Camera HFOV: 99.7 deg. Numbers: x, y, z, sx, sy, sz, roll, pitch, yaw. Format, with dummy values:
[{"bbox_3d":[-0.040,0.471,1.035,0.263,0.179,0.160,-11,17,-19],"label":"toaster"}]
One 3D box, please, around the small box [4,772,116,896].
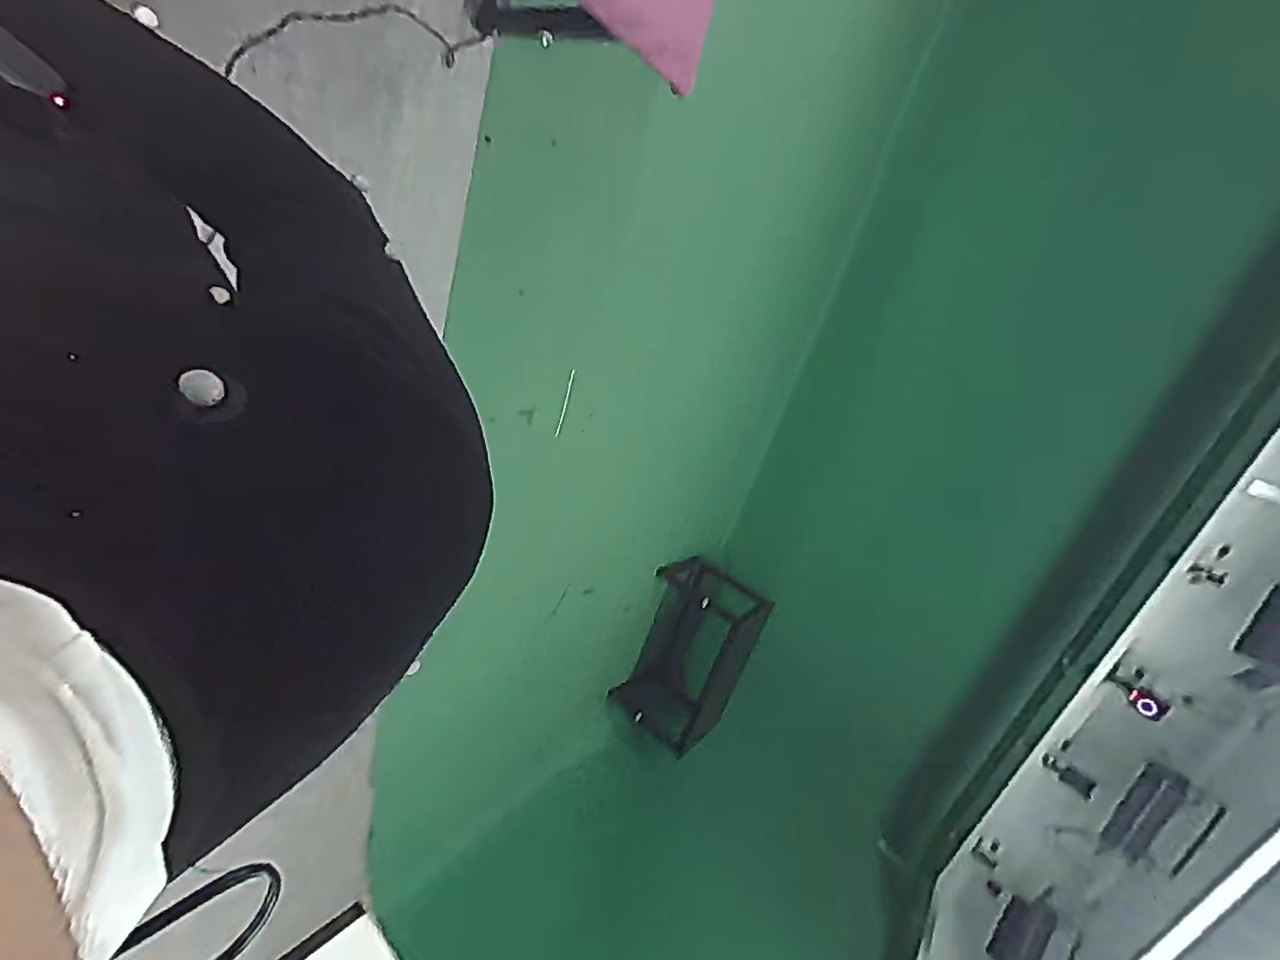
[{"bbox_3d":[-1.539,0.930,1.434,0.179,0.176,0.168,-16,128,-50],"label":"small box"}]
